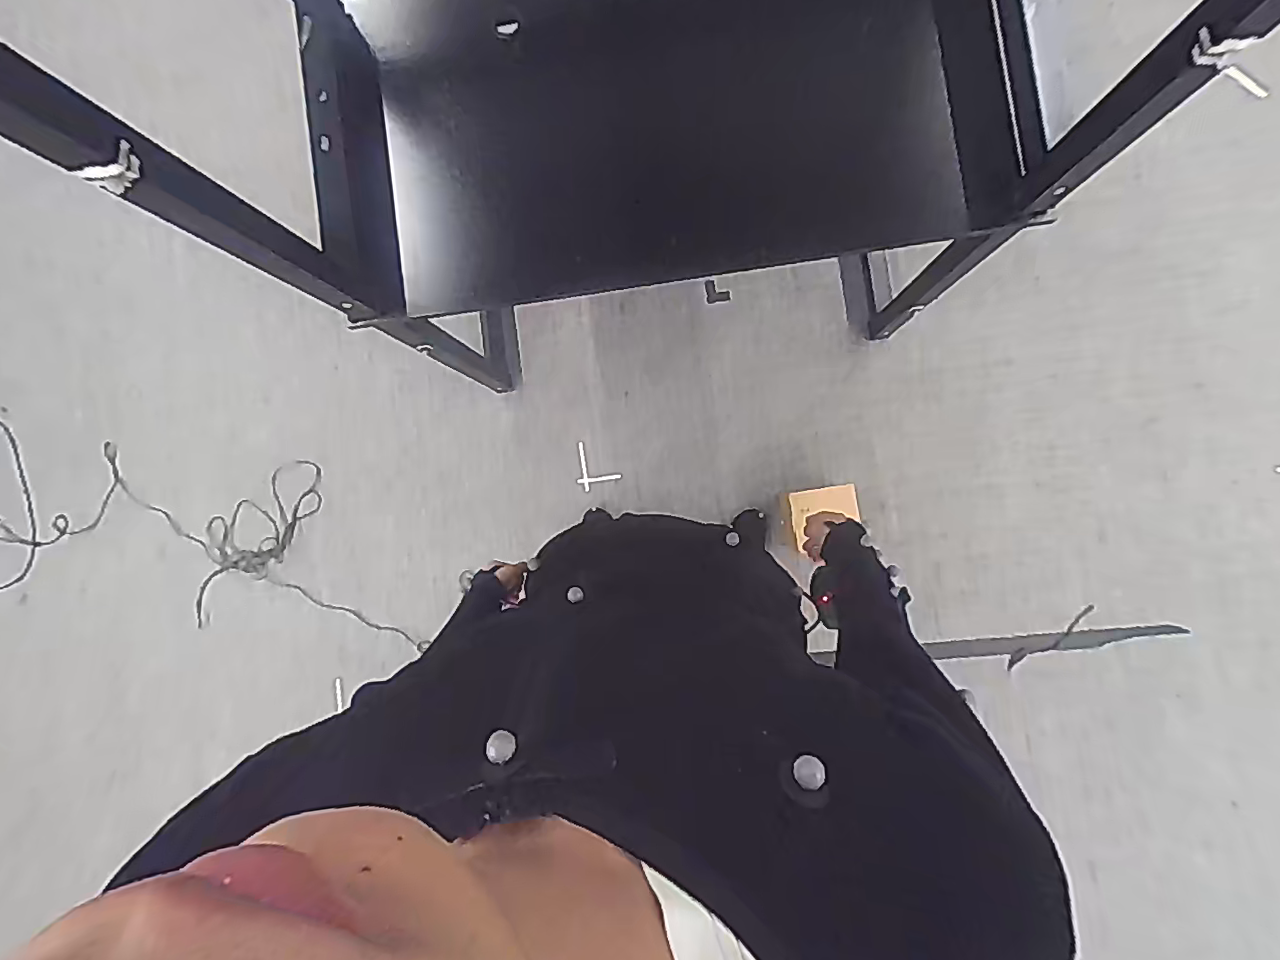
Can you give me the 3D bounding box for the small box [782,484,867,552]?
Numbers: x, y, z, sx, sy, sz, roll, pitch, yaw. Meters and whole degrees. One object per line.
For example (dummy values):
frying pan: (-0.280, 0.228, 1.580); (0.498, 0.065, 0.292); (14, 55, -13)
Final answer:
small box: (0.507, 0.101, 1.507); (0.179, 0.176, 0.168); (-9, 88, 6)
